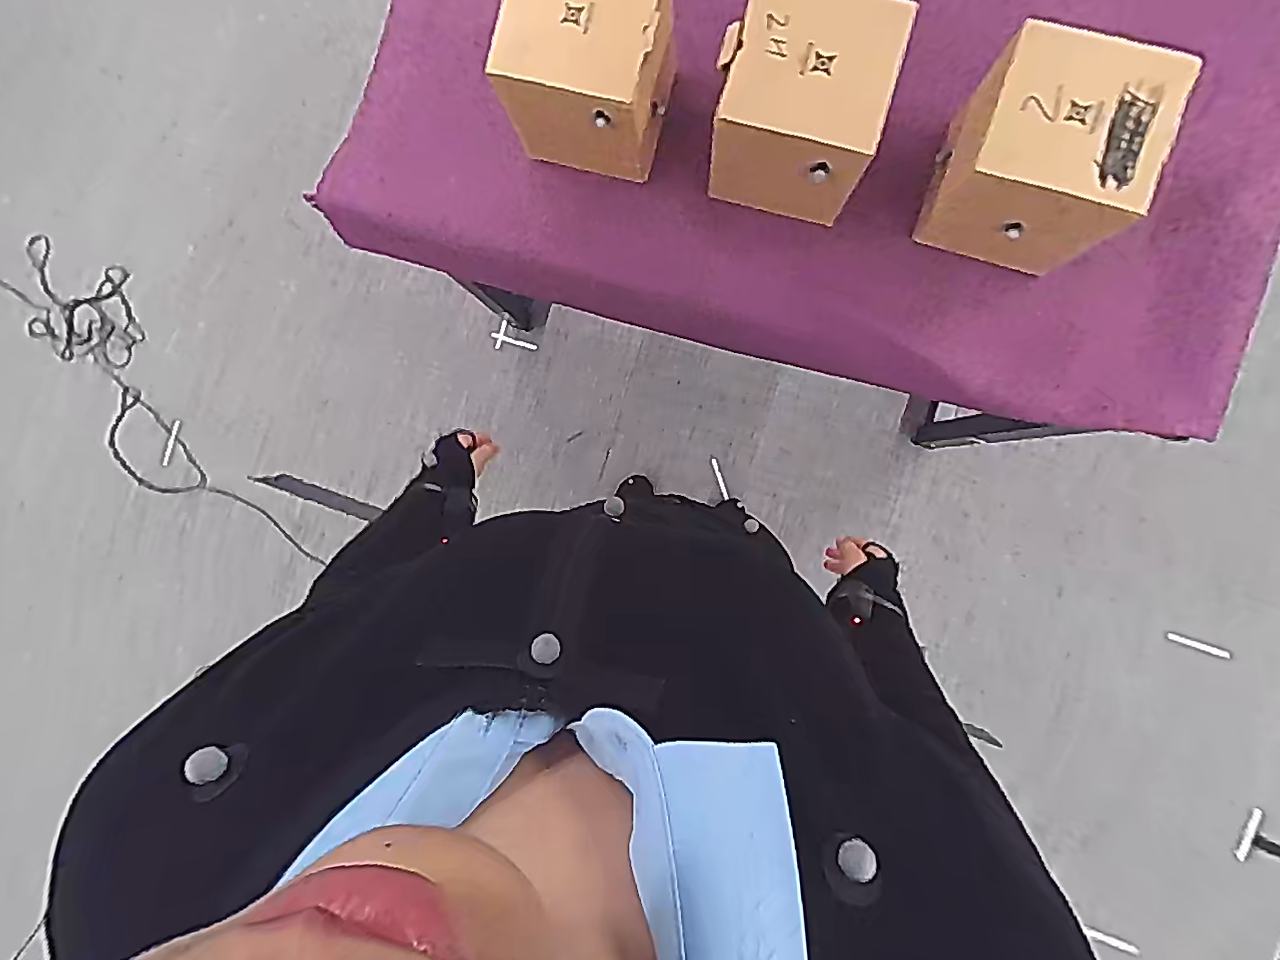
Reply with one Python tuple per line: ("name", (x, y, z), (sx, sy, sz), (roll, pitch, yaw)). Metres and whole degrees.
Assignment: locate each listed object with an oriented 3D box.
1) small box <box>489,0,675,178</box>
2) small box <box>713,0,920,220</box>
("small box", (-0.060, -0.513, 0.678), (0.179, 0.176, 0.168), (15, 92, 4))
("small box", (0.196, -0.443, 0.655), (0.179, 0.176, 0.168), (16, 91, 5))
